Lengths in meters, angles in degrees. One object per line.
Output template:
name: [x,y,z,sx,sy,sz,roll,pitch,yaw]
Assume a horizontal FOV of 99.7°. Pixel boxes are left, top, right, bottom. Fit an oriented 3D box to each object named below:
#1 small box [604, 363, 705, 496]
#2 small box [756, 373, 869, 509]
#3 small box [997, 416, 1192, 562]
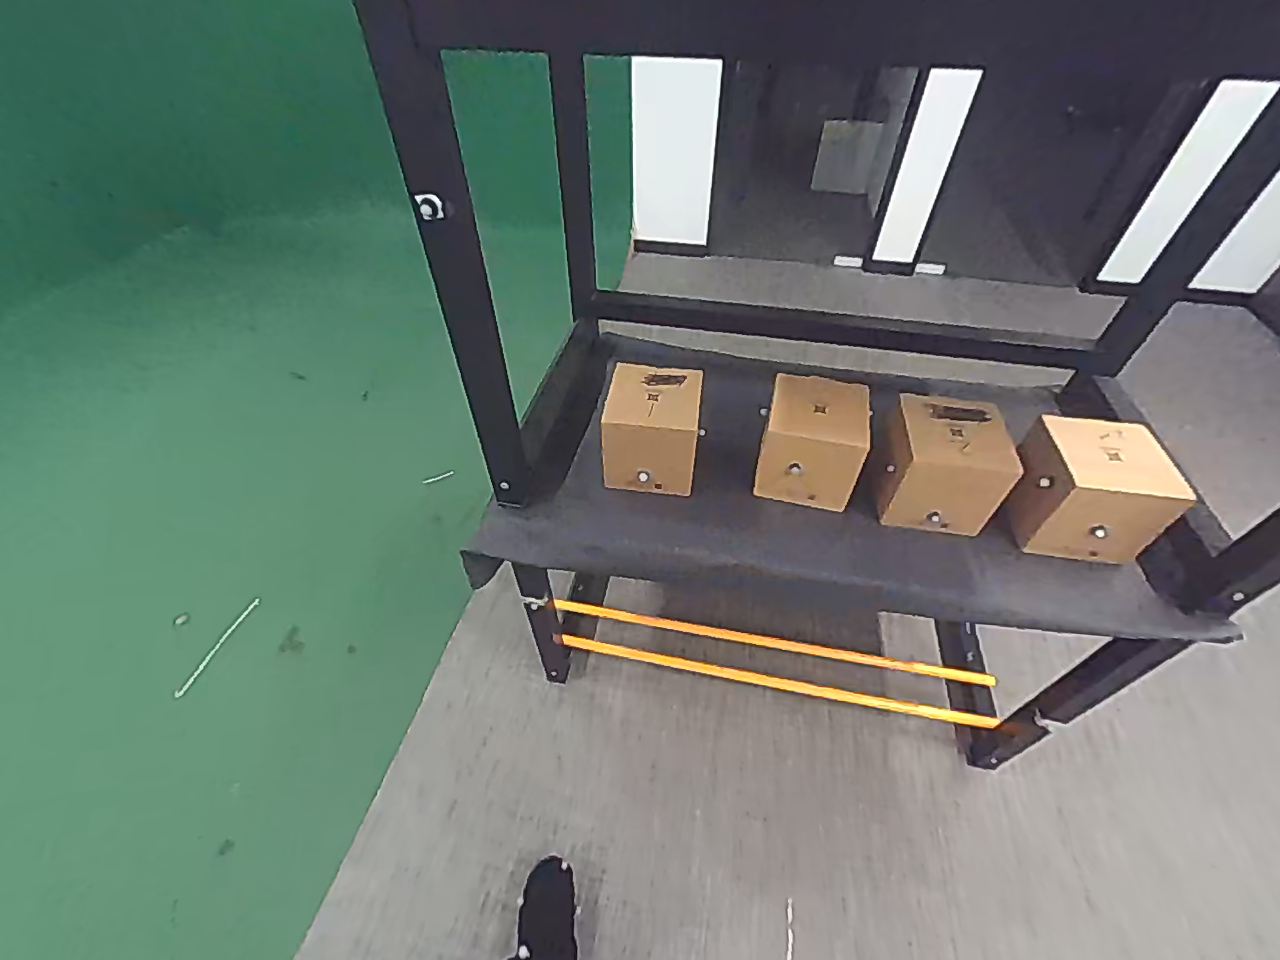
small box: [0.028,-0.096,1.020,0.168,0.176,0.179,6,48,5]
small box: [0.315,-0.070,1.001,0.168,0.176,0.179,11,47,10]
small box: [0.747,0.017,0.916,0.168,0.176,0.179,8,46,7]
